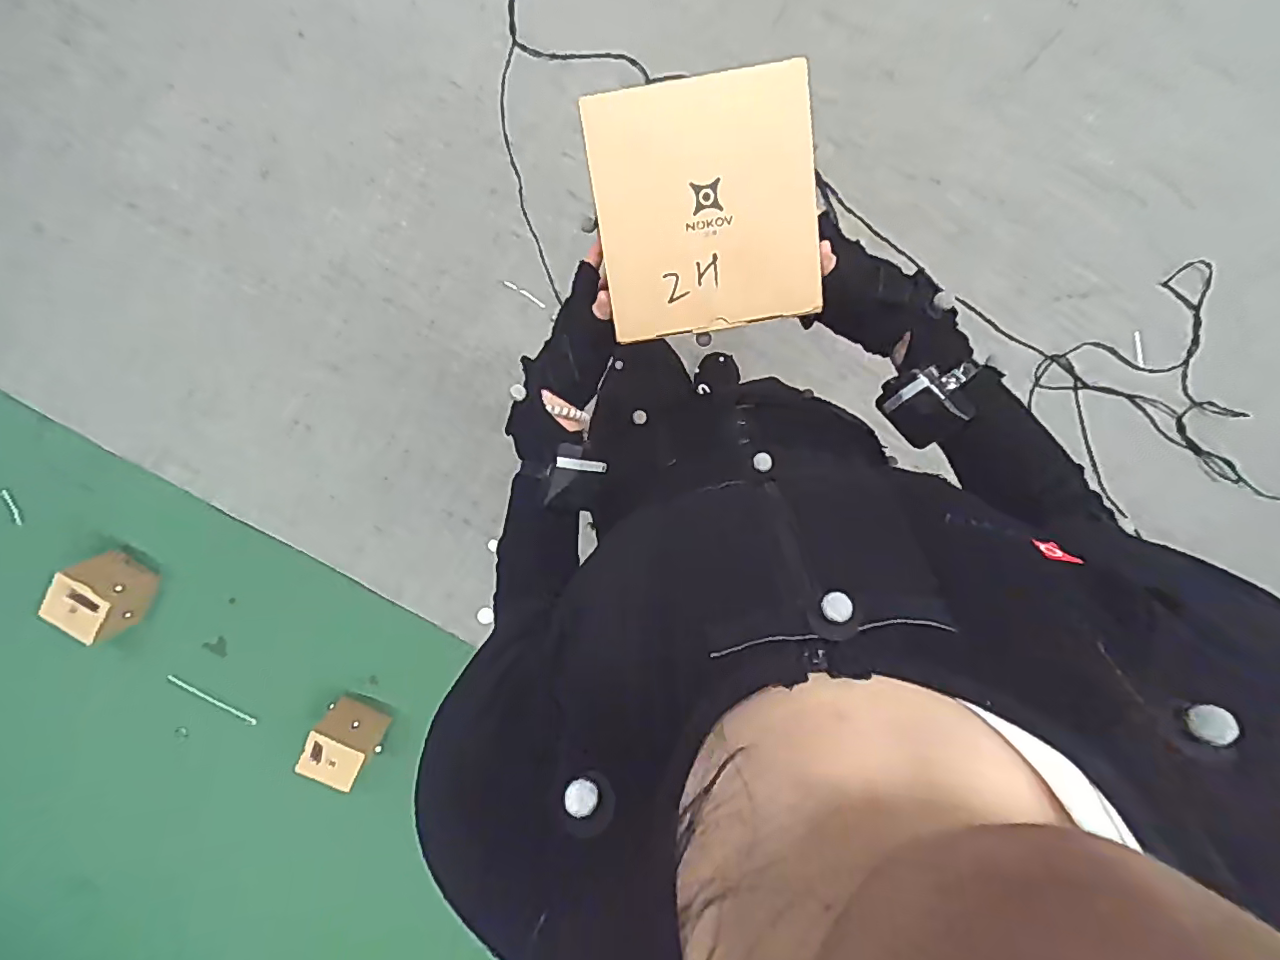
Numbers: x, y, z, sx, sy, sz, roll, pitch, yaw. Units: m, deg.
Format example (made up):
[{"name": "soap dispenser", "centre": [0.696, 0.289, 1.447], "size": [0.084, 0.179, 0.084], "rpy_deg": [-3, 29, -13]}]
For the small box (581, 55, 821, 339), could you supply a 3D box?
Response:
[{"name": "small box", "centre": [0.047, -0.223, 0.476], "size": [0.168, 0.176, 0.179], "rpy_deg": [-8, 105, 2]}]

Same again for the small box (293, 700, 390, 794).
[{"name": "small box", "centre": [-0.918, 0.817, 1.675], "size": [0.179, 0.176, 0.168], "rpy_deg": [28, 104, -5]}]
